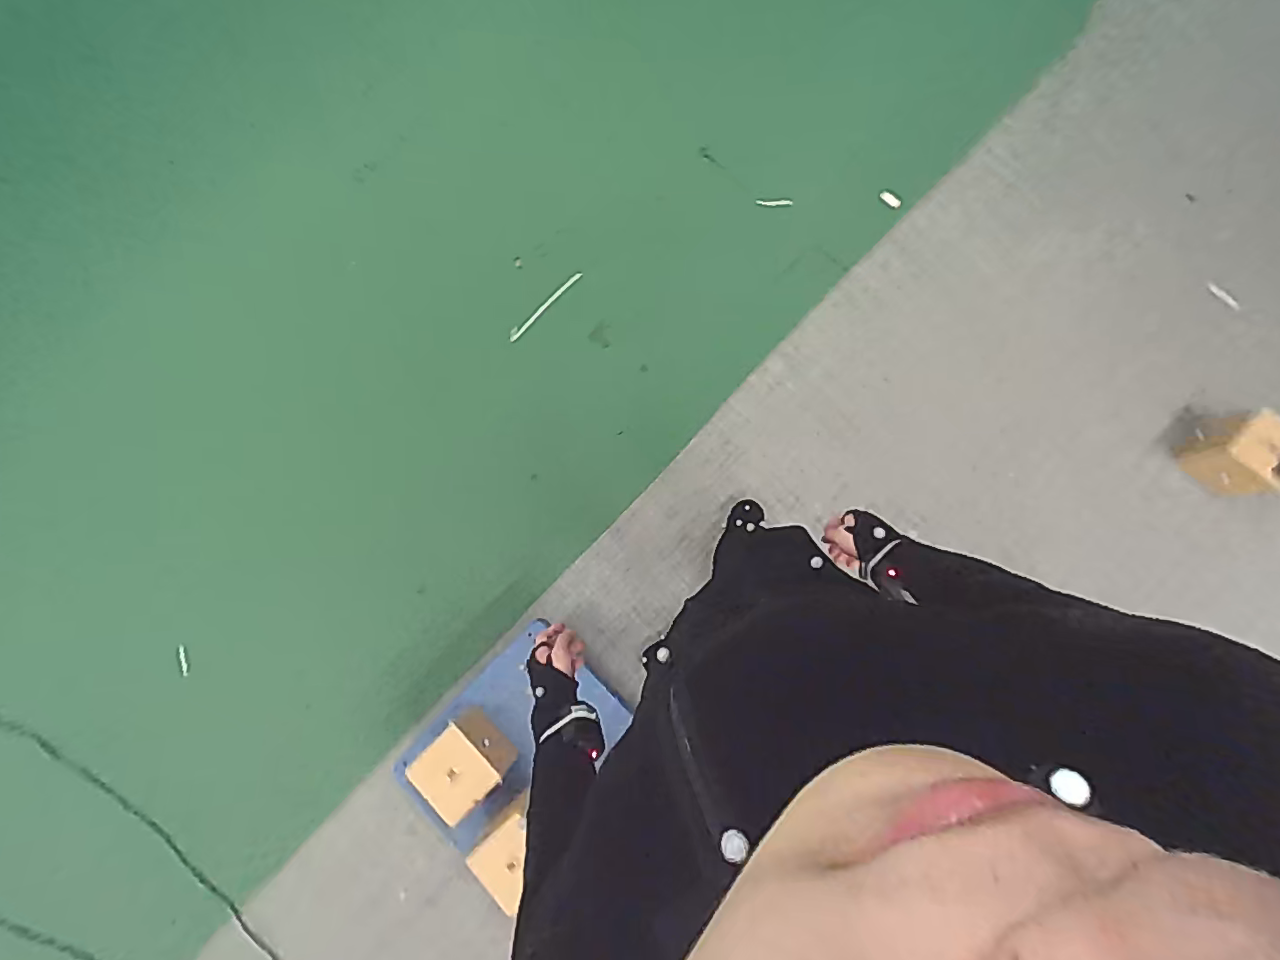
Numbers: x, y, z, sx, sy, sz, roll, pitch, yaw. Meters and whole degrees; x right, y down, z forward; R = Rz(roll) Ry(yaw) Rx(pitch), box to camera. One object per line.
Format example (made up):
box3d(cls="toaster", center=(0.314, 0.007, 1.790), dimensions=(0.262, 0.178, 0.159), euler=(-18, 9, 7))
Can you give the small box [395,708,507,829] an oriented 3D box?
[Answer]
box3d(cls="small box", center=(-0.459, 0.705, 1.346), dimensions=(0.168, 0.176, 0.179), euler=(-44, 84, -4))
